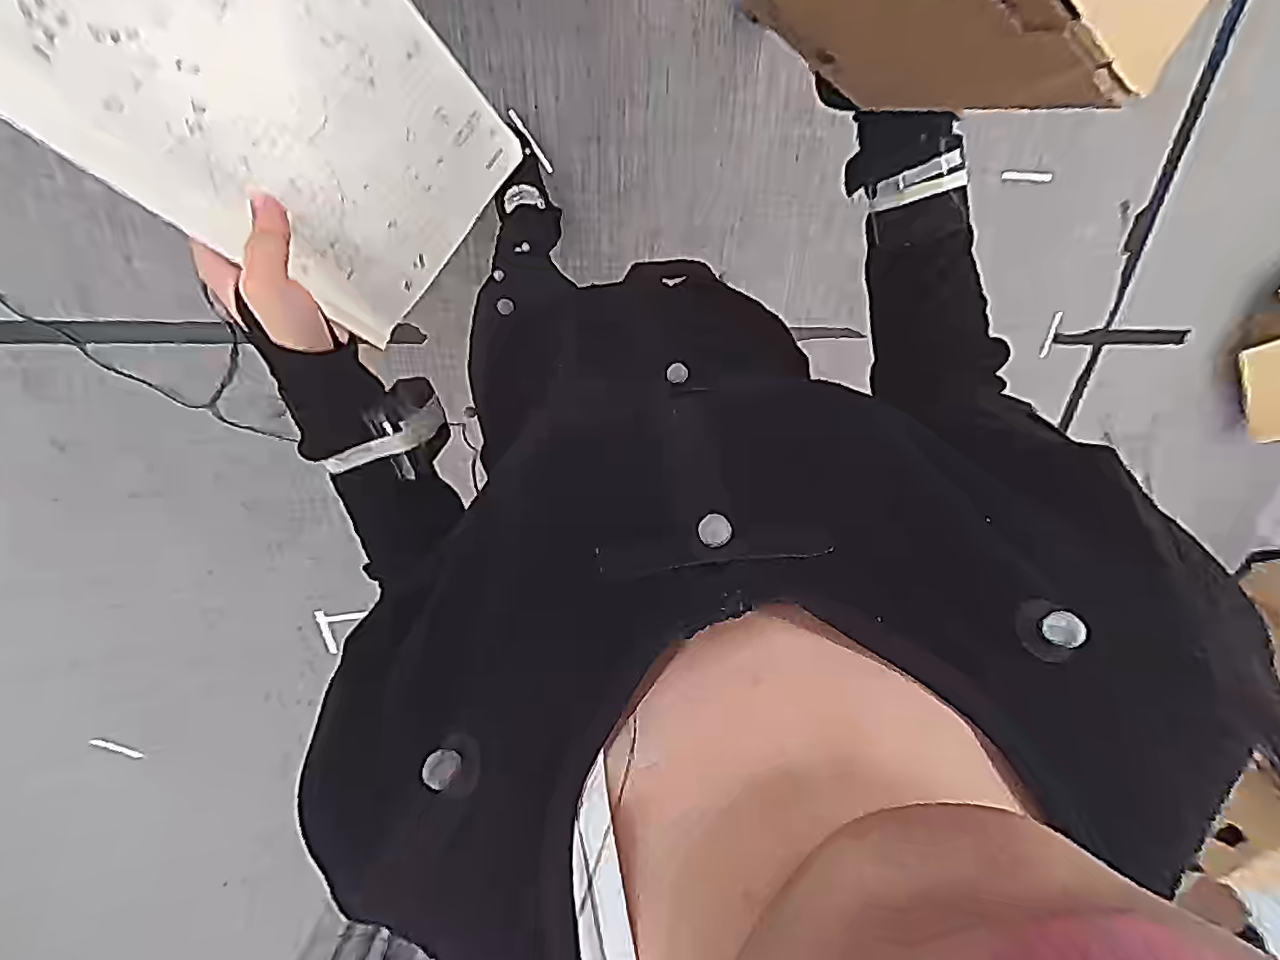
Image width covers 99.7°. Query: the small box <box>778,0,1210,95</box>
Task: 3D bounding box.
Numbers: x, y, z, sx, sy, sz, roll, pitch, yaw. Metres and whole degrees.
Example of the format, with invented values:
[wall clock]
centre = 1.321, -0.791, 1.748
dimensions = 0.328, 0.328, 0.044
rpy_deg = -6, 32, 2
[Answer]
[small box]
centre = 0.148, -0.290, 0.218
dimensions = 0.168, 0.176, 0.179
rpy_deg = 11, 115, -32
